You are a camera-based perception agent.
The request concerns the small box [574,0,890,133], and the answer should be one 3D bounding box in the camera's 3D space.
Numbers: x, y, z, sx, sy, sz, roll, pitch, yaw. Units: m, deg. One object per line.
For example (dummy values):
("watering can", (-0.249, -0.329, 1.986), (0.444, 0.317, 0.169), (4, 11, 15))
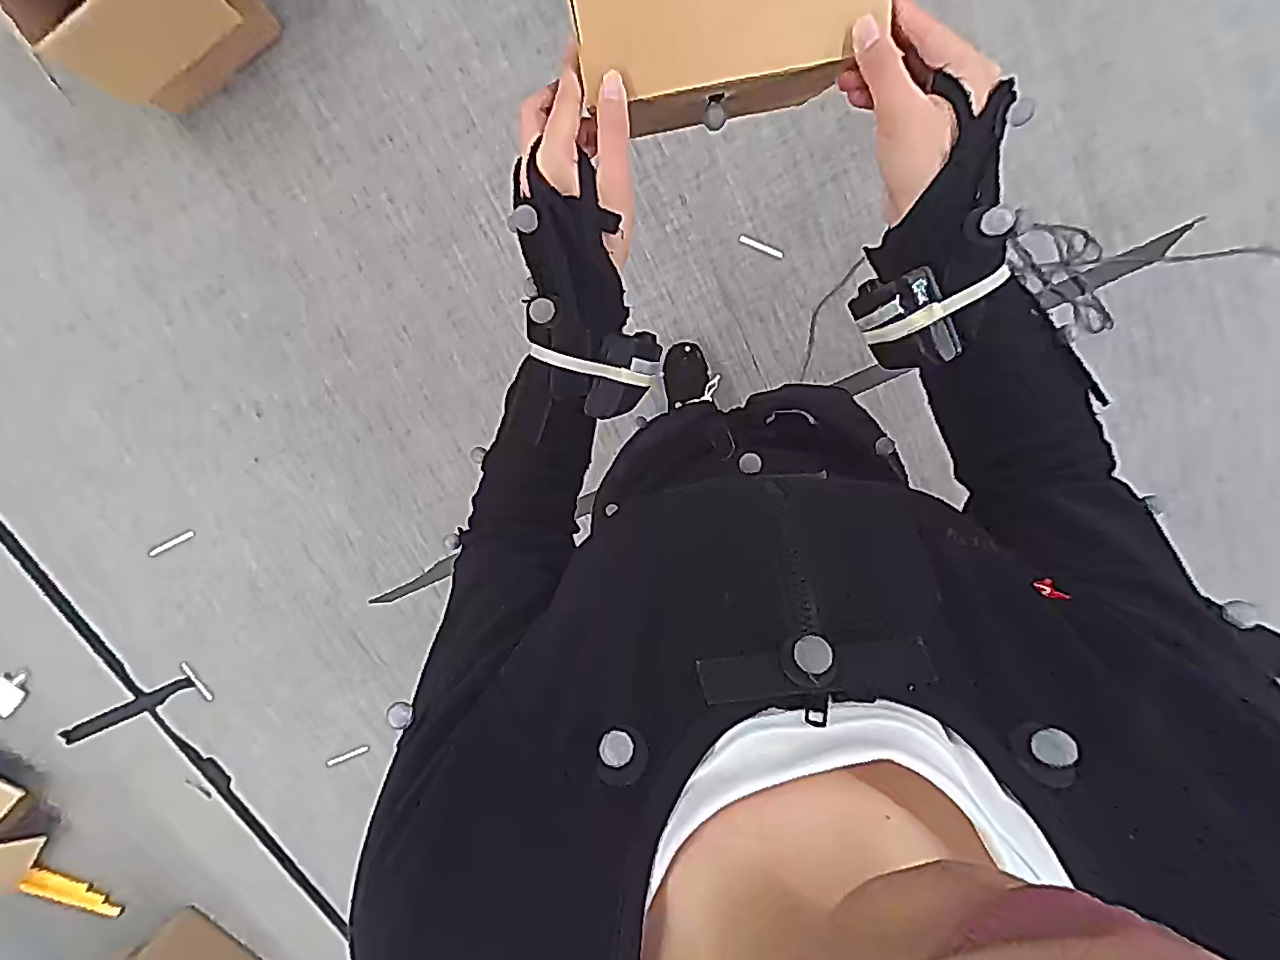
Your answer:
("small box", (0.043, -0.342, 0.348), (0.179, 0.176, 0.168), (-8, 116, 4))
